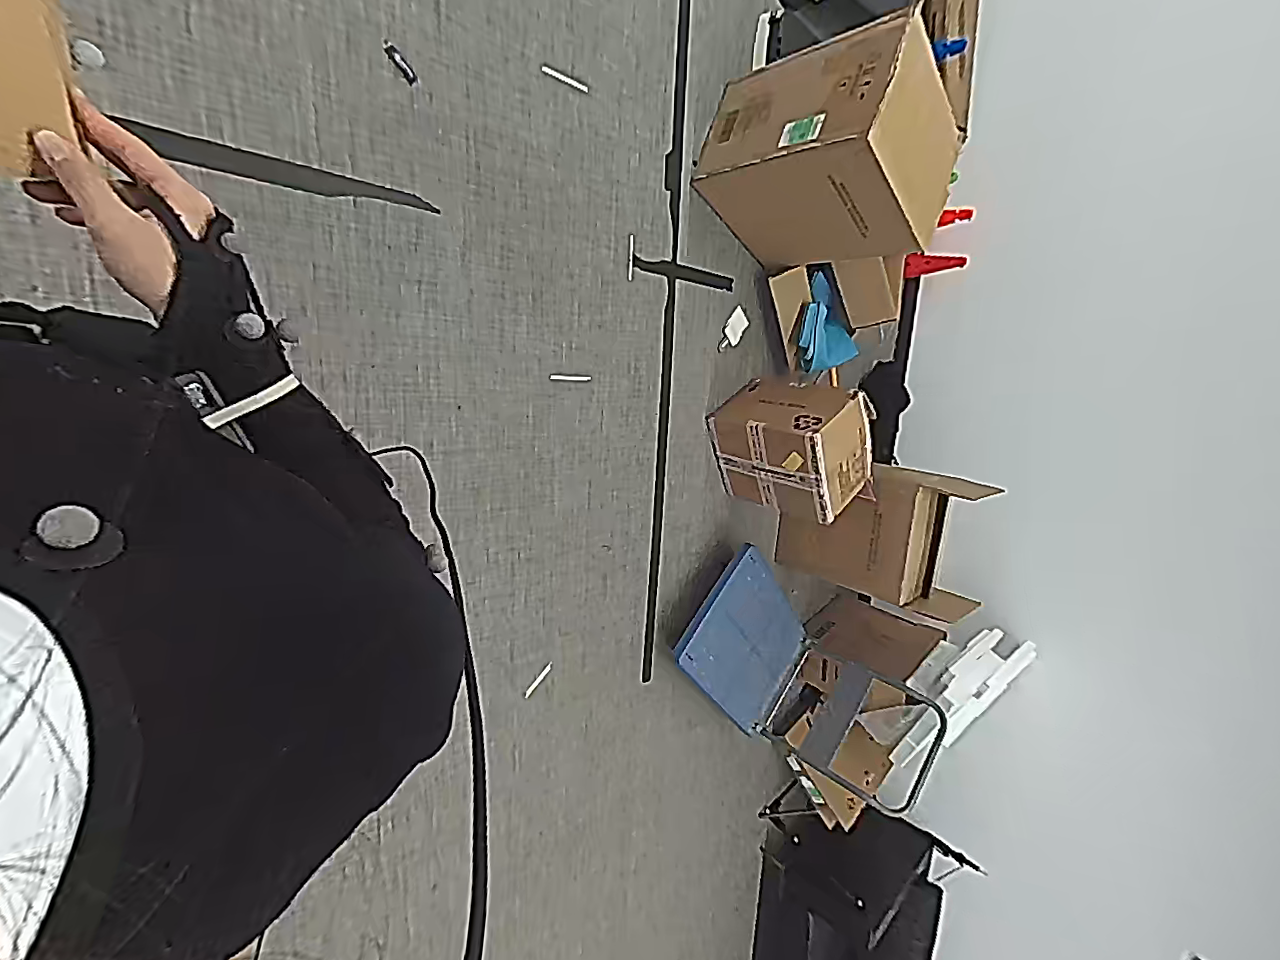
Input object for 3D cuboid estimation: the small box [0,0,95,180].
[{"bbox_3d":[-0.420,-0.261,0.276,0.179,0.176,0.168,-13,123,-39],"label":"small box"}]
